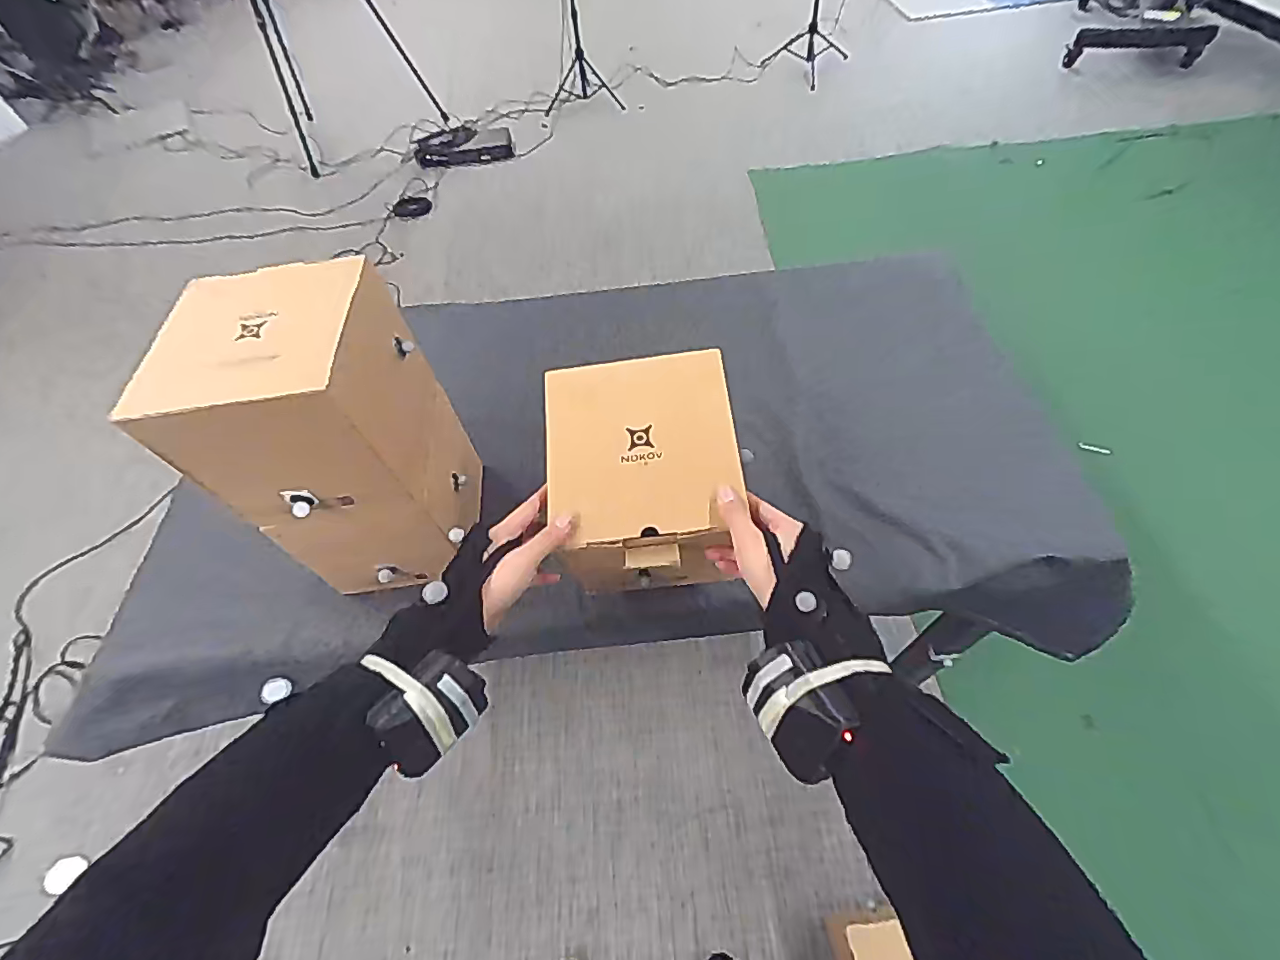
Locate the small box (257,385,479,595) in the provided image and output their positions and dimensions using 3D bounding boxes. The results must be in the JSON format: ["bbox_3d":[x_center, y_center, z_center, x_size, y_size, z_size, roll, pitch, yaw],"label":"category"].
[{"bbox_3d":[-0.298,0.016,0.640,0.168,0.176,0.179,-8,55,-1],"label":"small box"}]

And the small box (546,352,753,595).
[{"bbox_3d":[0.007,0.003,0.531,0.168,0.176,0.179,-7,66,3],"label":"small box"}]

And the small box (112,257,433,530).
[{"bbox_3d":[-0.310,-0.076,0.507,0.168,0.176,0.179,-9,56,0],"label":"small box"}]
